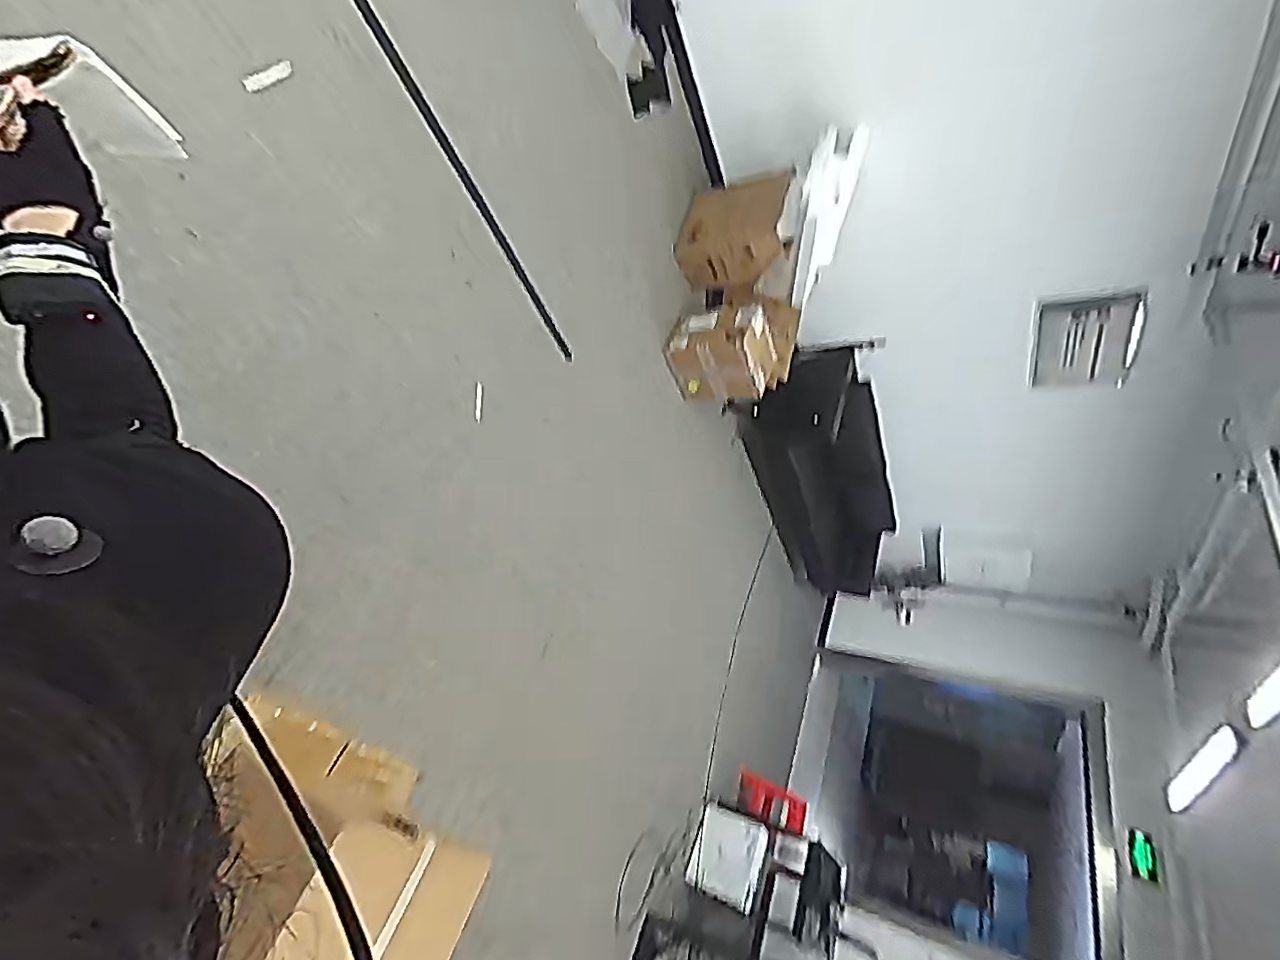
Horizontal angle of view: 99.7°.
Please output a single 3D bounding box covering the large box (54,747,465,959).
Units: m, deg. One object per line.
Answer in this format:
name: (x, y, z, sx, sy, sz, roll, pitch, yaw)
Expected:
large box: (-0.531, 0.651, 0.738, 0.320, 0.320, 0.408, 58, 46, -42)
